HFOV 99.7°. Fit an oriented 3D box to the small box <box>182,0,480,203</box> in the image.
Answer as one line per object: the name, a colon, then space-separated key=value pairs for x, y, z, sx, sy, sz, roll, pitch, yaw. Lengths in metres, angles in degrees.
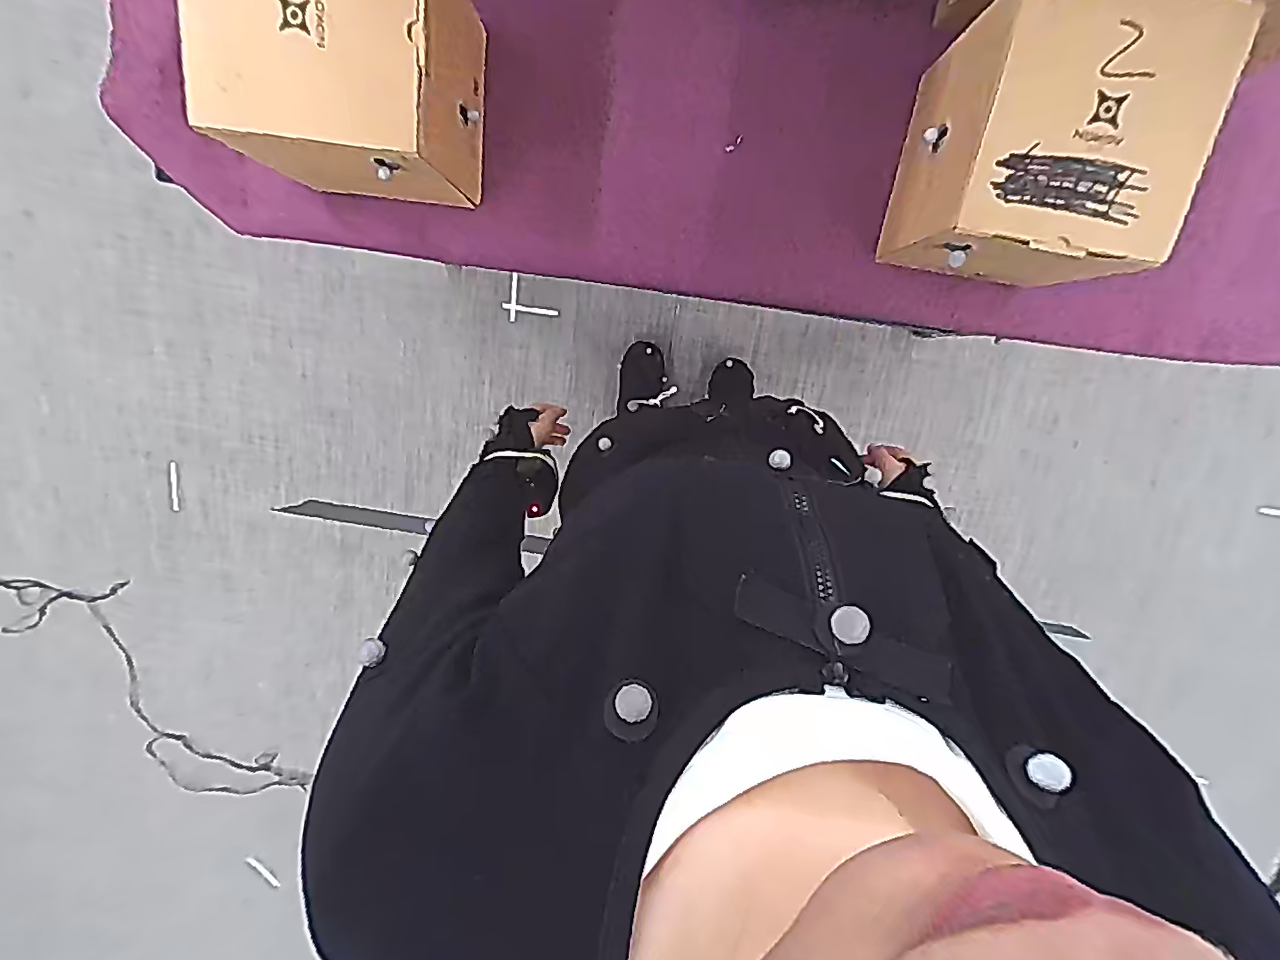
small box: x=-0.254 y=-0.361 z=0.480 sx=0.179 sy=0.176 sz=0.168 roll=5 pitch=104 yaw=-3
